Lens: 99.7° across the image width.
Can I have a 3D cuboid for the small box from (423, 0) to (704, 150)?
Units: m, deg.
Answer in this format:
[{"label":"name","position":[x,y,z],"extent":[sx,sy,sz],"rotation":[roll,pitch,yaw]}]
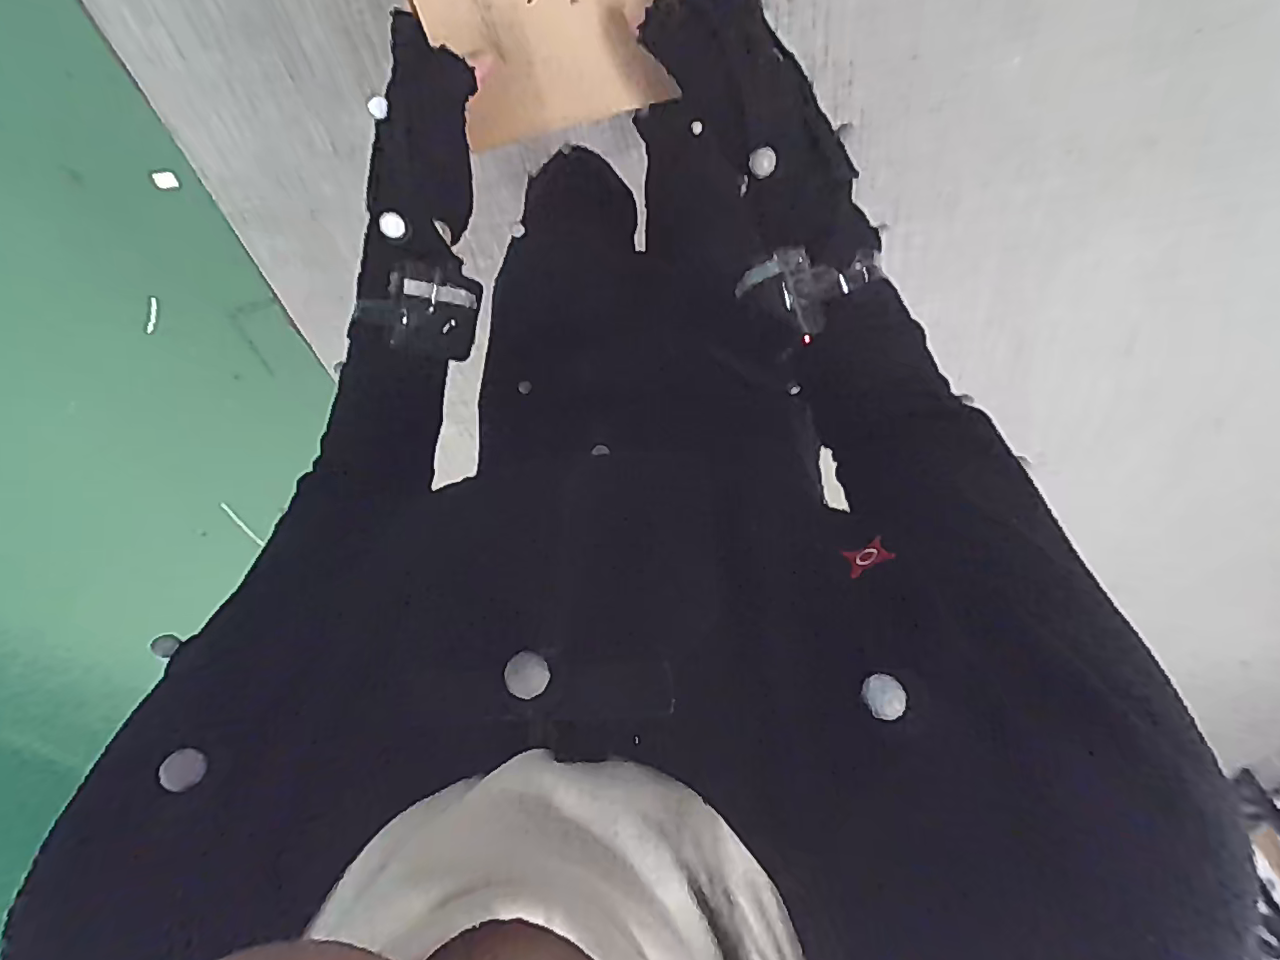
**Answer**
[{"label":"small box","position":[-0.057,-0.377,0.407],"extent":[0.179,0.176,0.168],"rotation":[-10,130,9]}]
